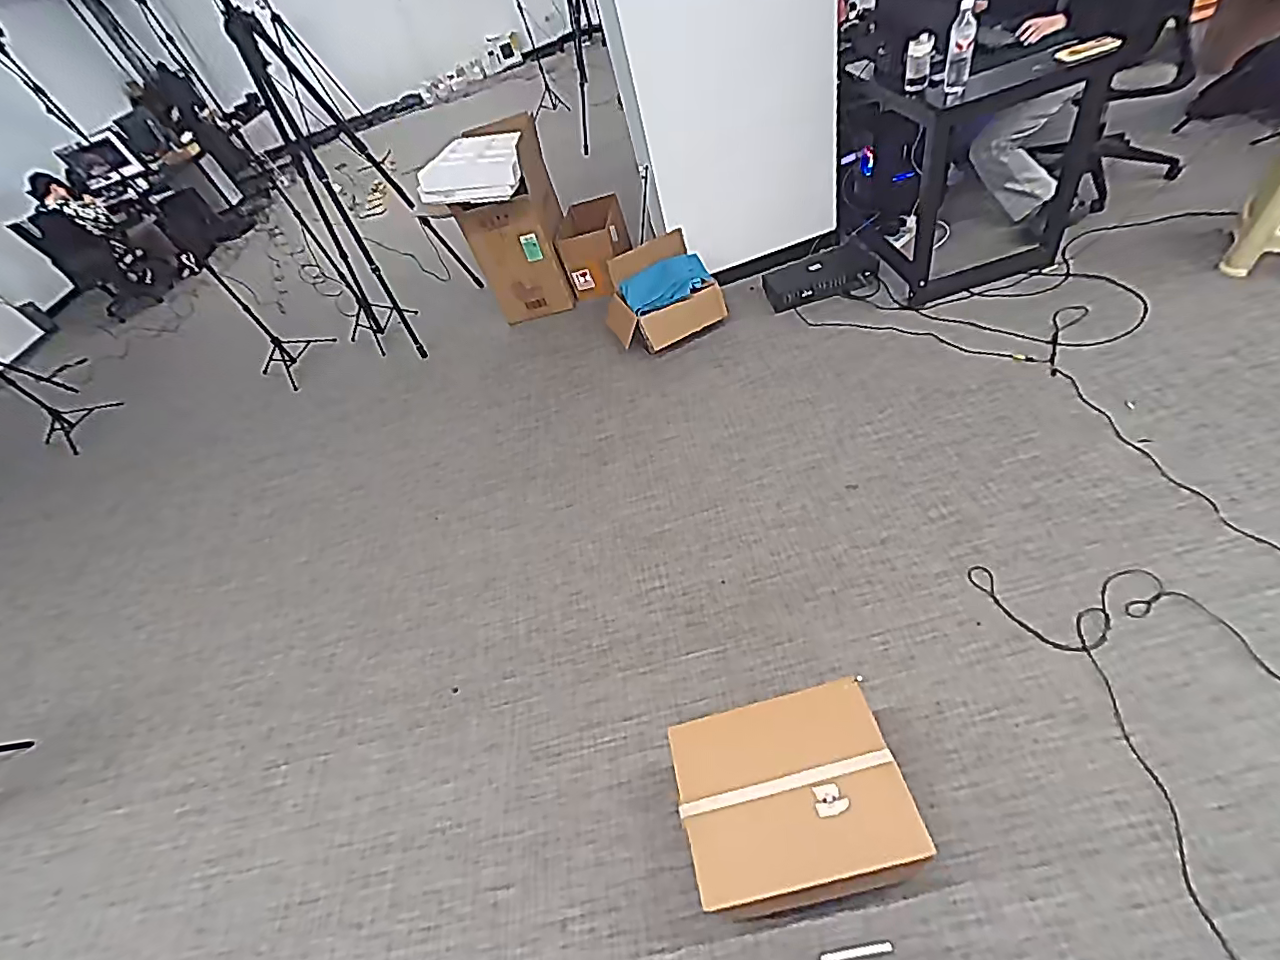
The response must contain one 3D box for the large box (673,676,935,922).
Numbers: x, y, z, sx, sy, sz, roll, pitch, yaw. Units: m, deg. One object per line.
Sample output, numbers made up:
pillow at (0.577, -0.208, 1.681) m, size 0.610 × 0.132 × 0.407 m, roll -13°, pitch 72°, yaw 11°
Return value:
large box at (0.319, 0.666, 1.123) m, size 0.408 × 0.320 × 0.320 m, roll -18°, pitch 46°, yaw 4°
